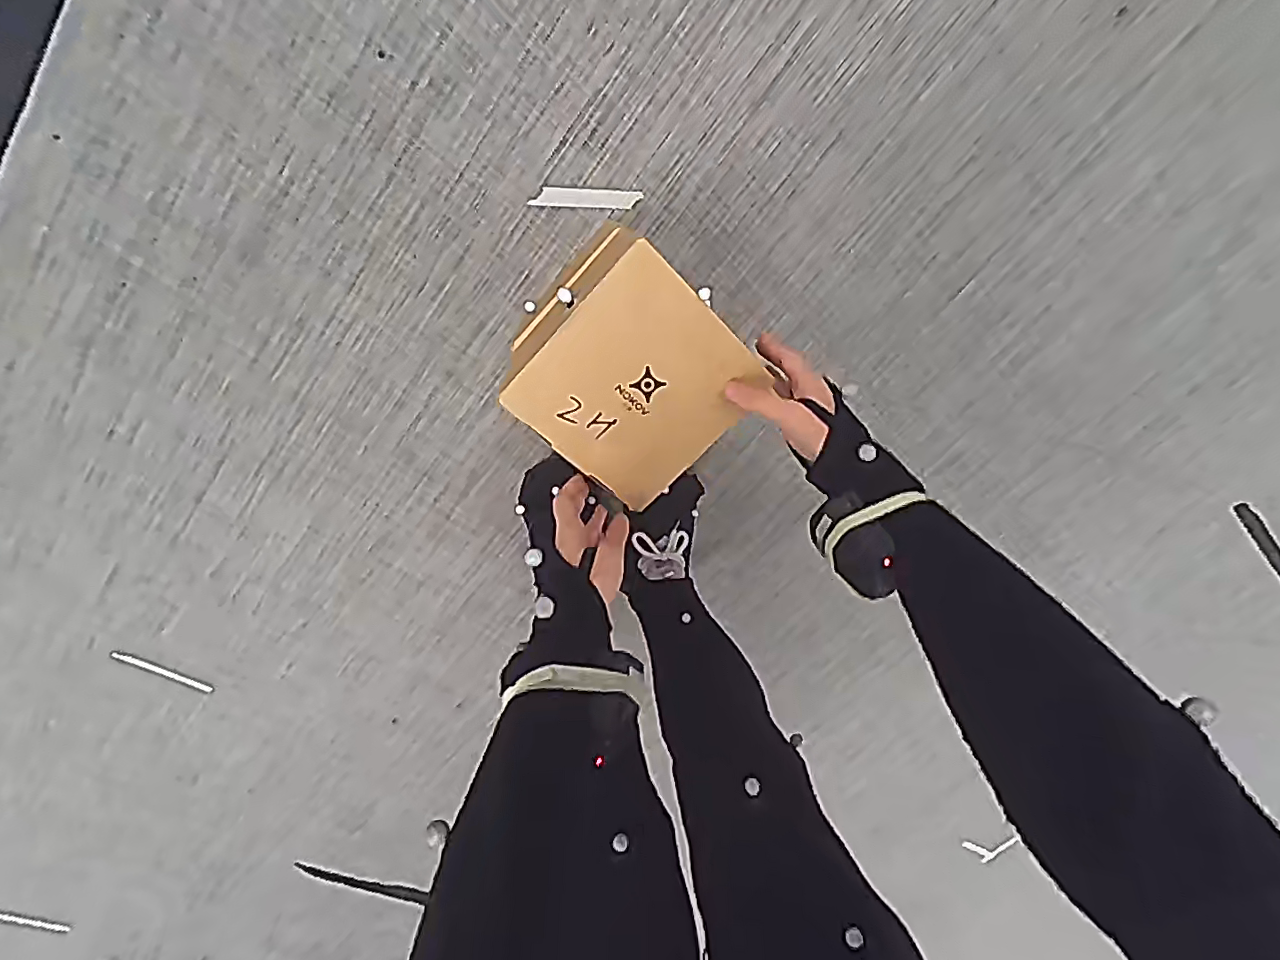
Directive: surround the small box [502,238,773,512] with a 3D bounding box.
[{"bbox_3d":[-0.010,-0.110,0.524,0.168,0.176,0.179,40,106,-23],"label":"small box"}]
